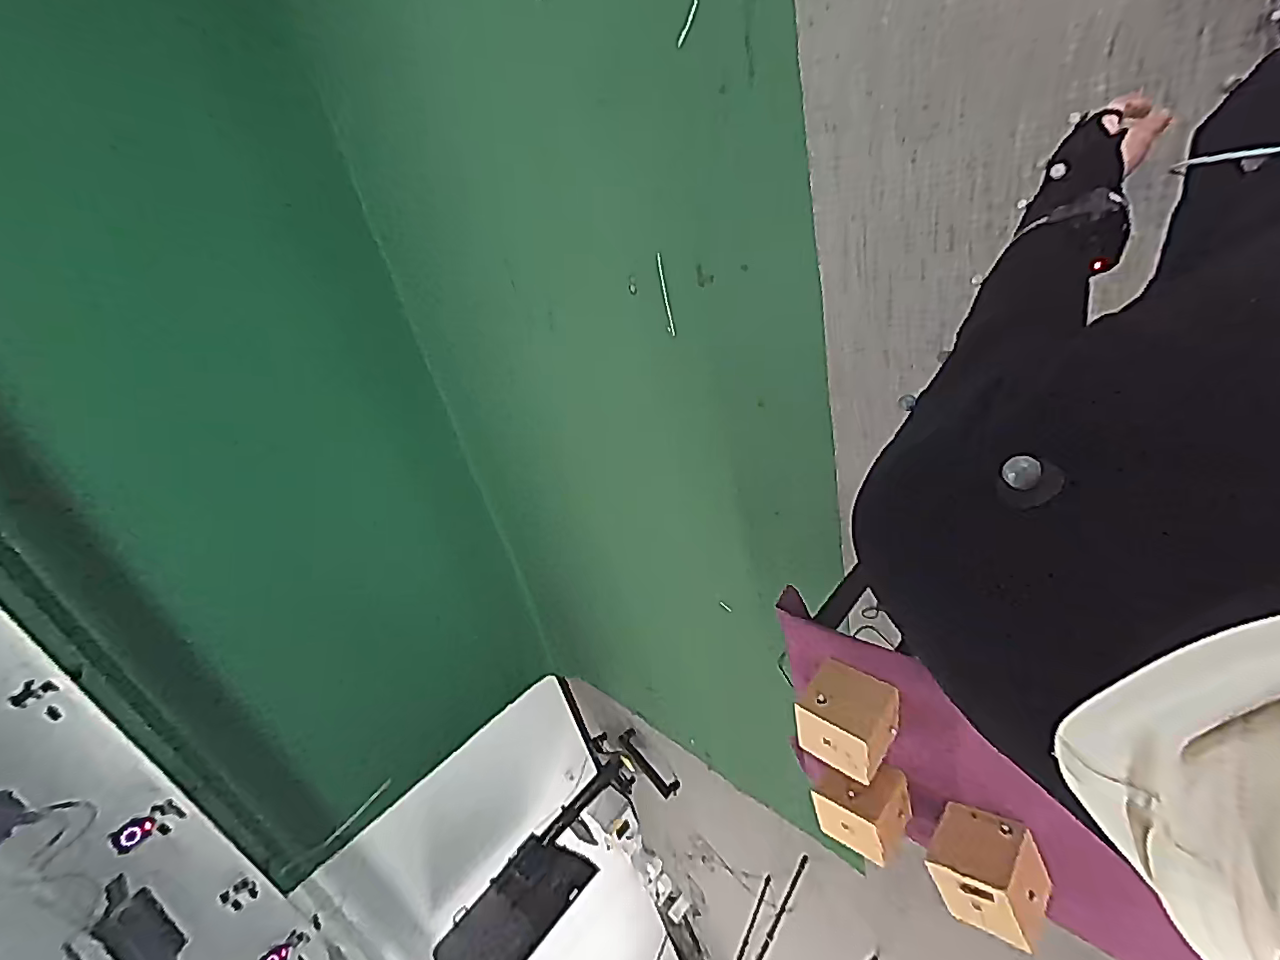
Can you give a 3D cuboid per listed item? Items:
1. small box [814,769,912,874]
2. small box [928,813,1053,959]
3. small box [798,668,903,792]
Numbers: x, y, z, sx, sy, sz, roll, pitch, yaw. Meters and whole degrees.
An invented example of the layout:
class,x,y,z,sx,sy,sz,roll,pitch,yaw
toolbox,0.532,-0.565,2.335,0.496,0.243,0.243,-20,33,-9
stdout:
class,x,y,z,sx,sy,sz,roll,pitch,yaw
small box,0.584,0.860,1.412,0.179,0.176,0.168,6,121,47
small box,0.777,0.887,1.198,0.168,0.176,0.179,-13,107,54
small box,0.498,0.581,1.285,0.179,0.176,0.168,17,131,42
